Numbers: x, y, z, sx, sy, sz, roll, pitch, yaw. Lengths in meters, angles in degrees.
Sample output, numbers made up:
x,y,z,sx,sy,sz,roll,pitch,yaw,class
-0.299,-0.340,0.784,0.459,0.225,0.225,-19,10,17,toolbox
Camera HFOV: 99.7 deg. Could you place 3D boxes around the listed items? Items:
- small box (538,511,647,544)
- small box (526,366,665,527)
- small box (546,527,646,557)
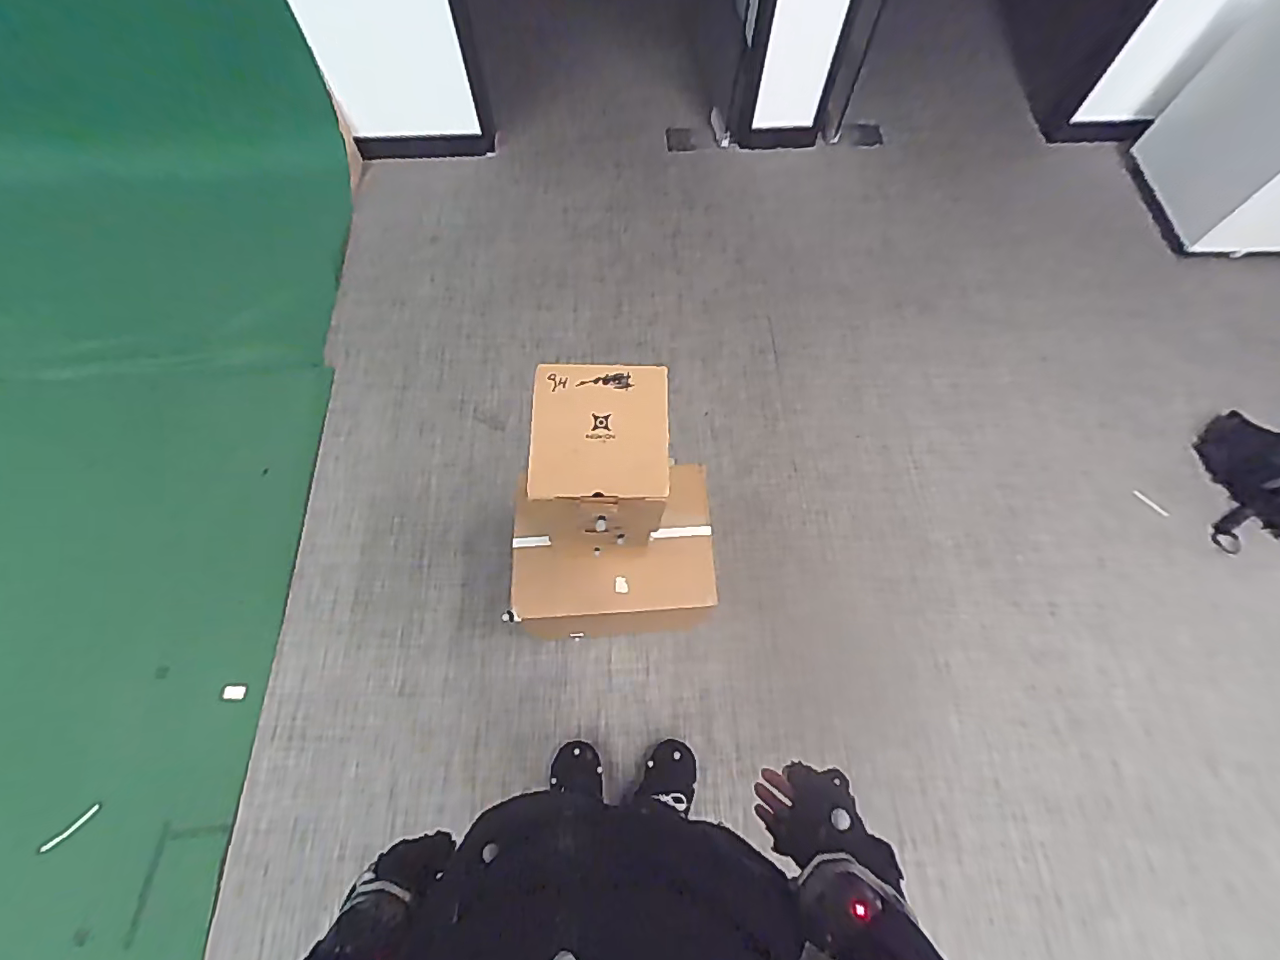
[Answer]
x,y,z,sx,sy,sz,roll,pitch,yaw,class
-0.065,0.004,0.888,0.168,0.176,0.179,4,71,-2,small box
-0.053,-0.035,0.729,0.168,0.176,0.179,1,73,-2,small box
-0.076,0.049,1.040,0.179,0.176,0.168,3,70,0,small box
